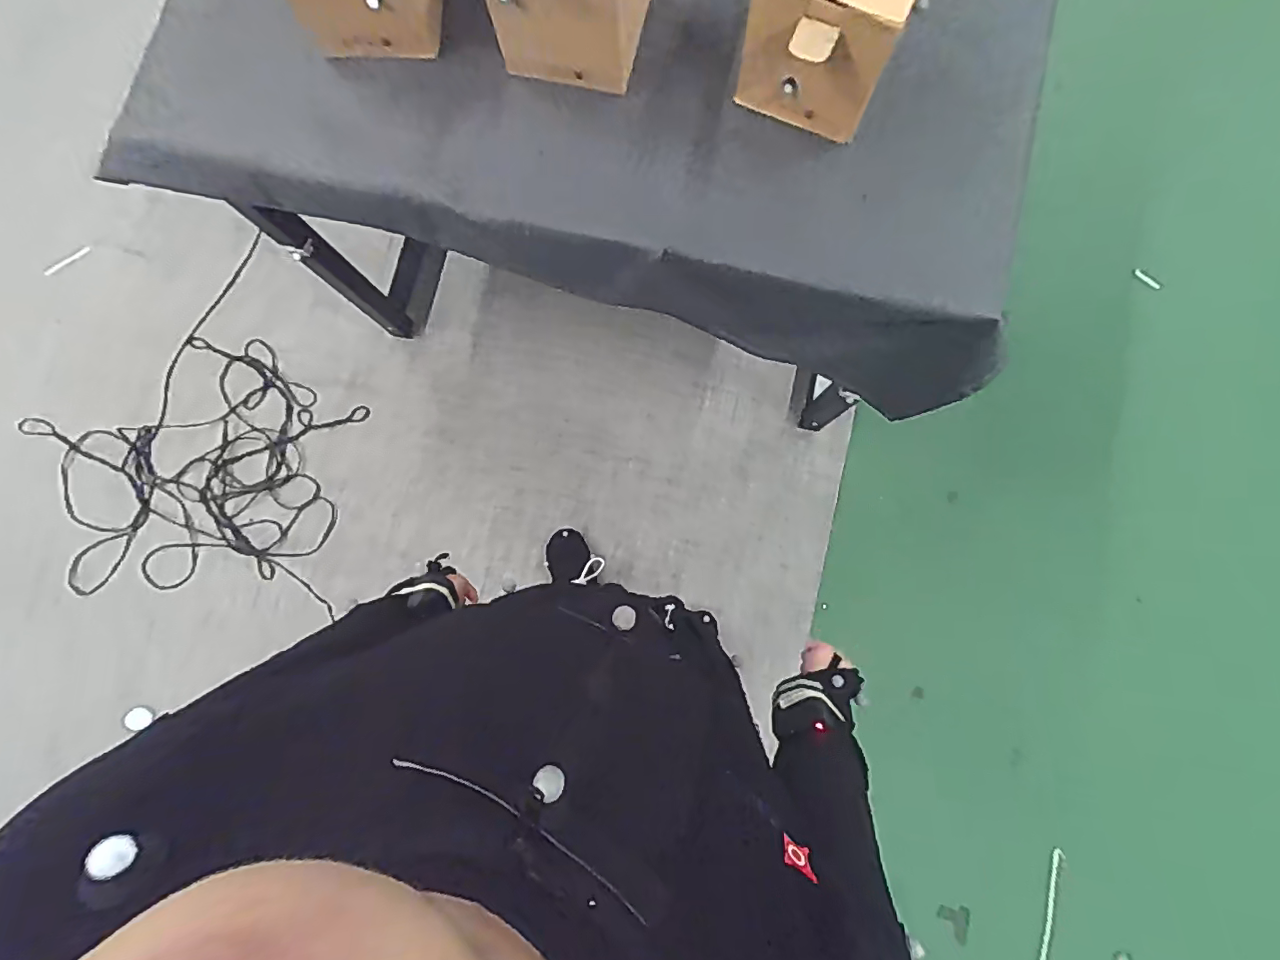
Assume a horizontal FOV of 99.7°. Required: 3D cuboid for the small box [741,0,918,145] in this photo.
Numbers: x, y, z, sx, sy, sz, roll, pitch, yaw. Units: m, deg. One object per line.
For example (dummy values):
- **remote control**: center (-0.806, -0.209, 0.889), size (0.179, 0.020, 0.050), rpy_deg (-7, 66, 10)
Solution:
- **small box**: center (0.236, -0.564, 0.657), size (0.168, 0.176, 0.179), rpy_deg (24, 84, 4)
